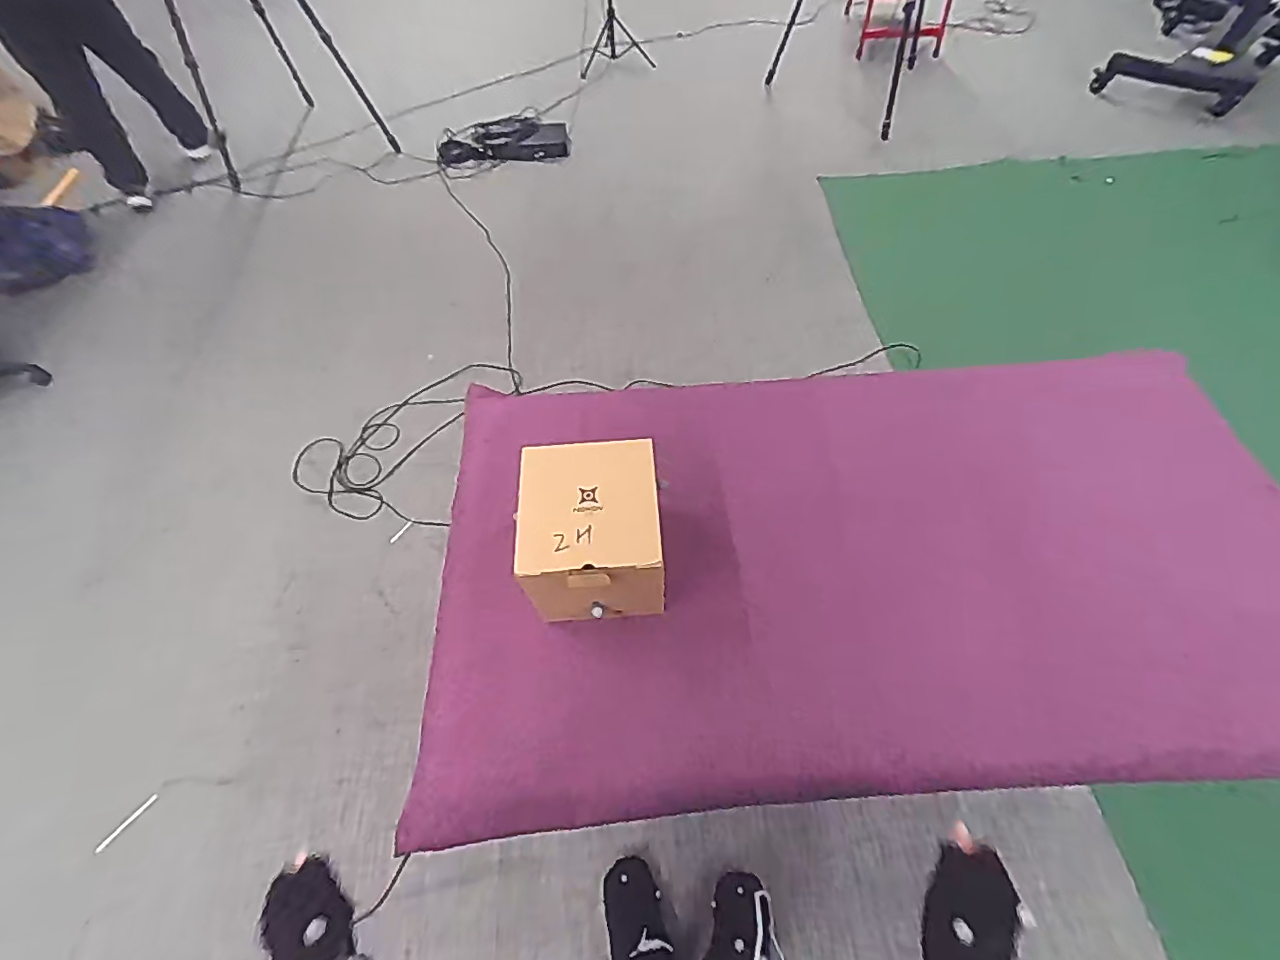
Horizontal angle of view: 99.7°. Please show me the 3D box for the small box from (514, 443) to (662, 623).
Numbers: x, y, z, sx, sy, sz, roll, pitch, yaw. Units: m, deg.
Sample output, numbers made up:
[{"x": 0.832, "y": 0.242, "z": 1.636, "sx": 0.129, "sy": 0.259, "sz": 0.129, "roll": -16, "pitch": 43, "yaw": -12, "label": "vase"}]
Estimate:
[{"x": -0.059, "y": 0.073, "z": 0.708, "sx": 0.168, "sy": 0.176, "sz": 0.179, "roll": -4, "pitch": 58, "yaw": 1, "label": "small box"}]
